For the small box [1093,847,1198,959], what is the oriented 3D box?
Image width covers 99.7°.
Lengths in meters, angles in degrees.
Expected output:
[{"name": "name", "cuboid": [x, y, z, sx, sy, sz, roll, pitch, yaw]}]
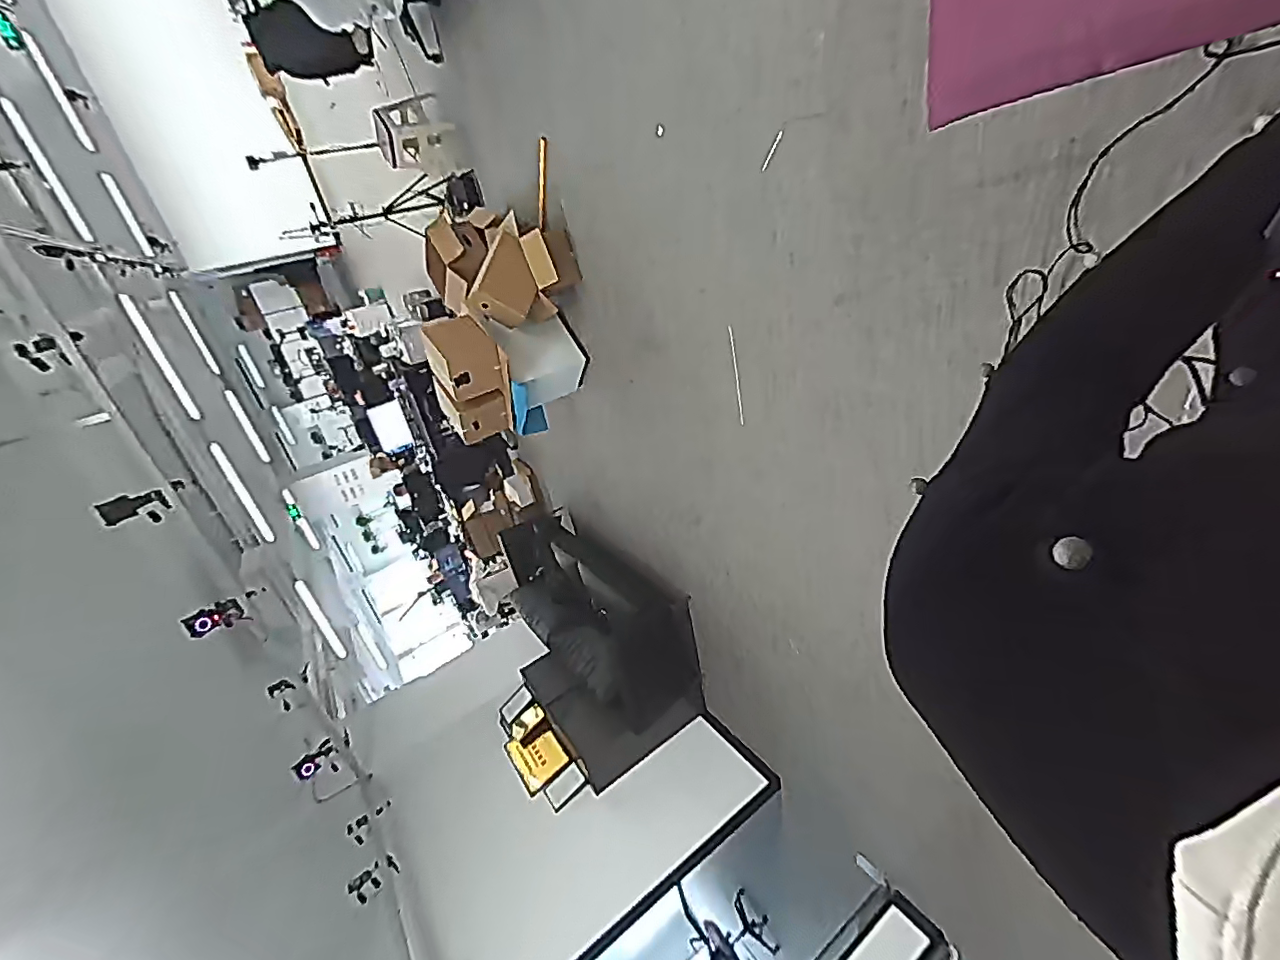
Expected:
[{"name": "small box", "cuboid": [1.441, 1.210, 1.542, 0.168, 0.176, 0.179, 26, 136, 51]}]
